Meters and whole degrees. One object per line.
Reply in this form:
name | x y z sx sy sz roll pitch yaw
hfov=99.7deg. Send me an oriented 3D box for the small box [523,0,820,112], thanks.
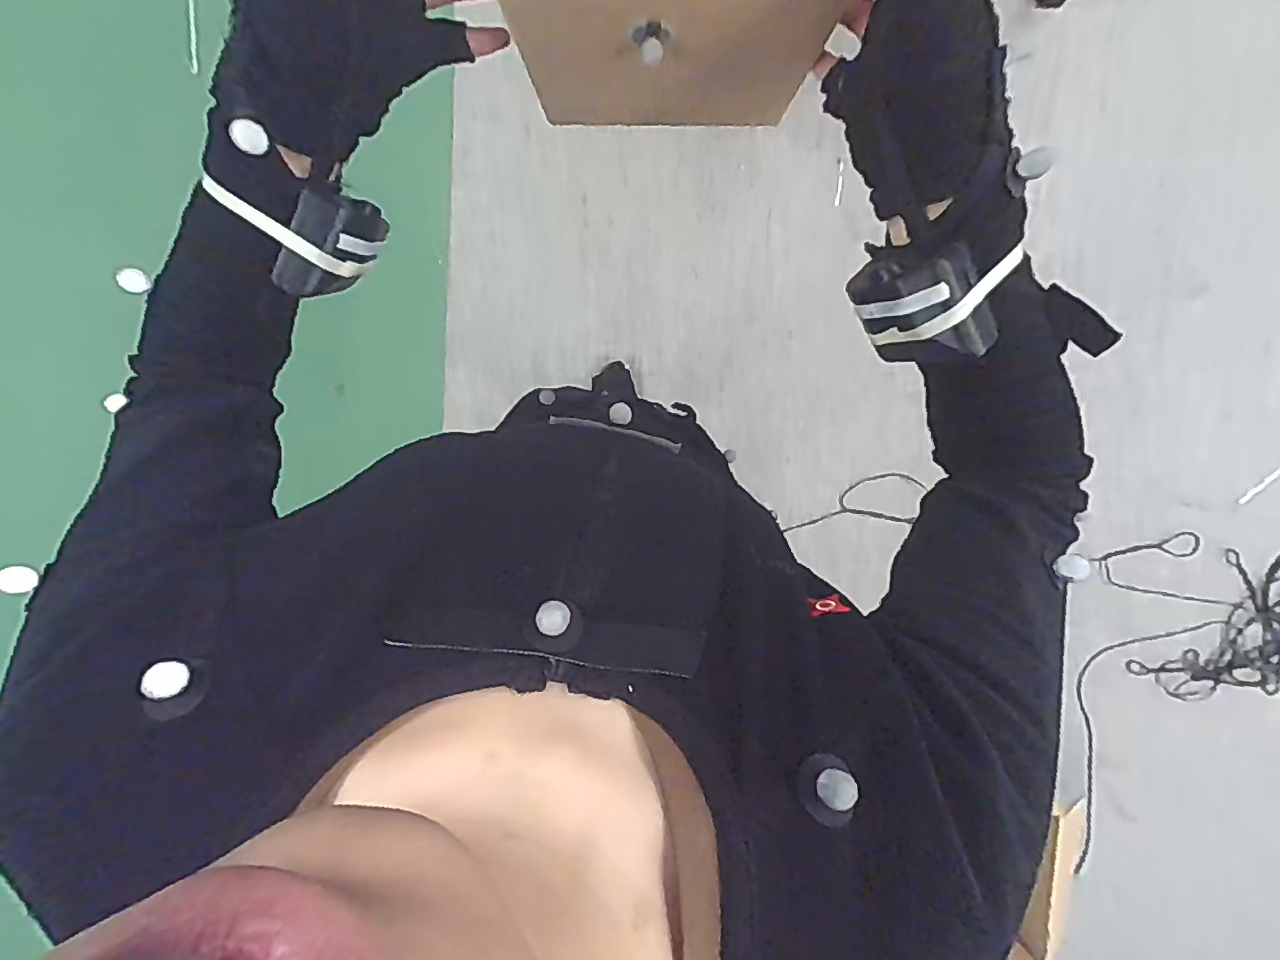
small box | 0.018 -0.339 0.314 0.179 0.176 0.168 0 104 0
